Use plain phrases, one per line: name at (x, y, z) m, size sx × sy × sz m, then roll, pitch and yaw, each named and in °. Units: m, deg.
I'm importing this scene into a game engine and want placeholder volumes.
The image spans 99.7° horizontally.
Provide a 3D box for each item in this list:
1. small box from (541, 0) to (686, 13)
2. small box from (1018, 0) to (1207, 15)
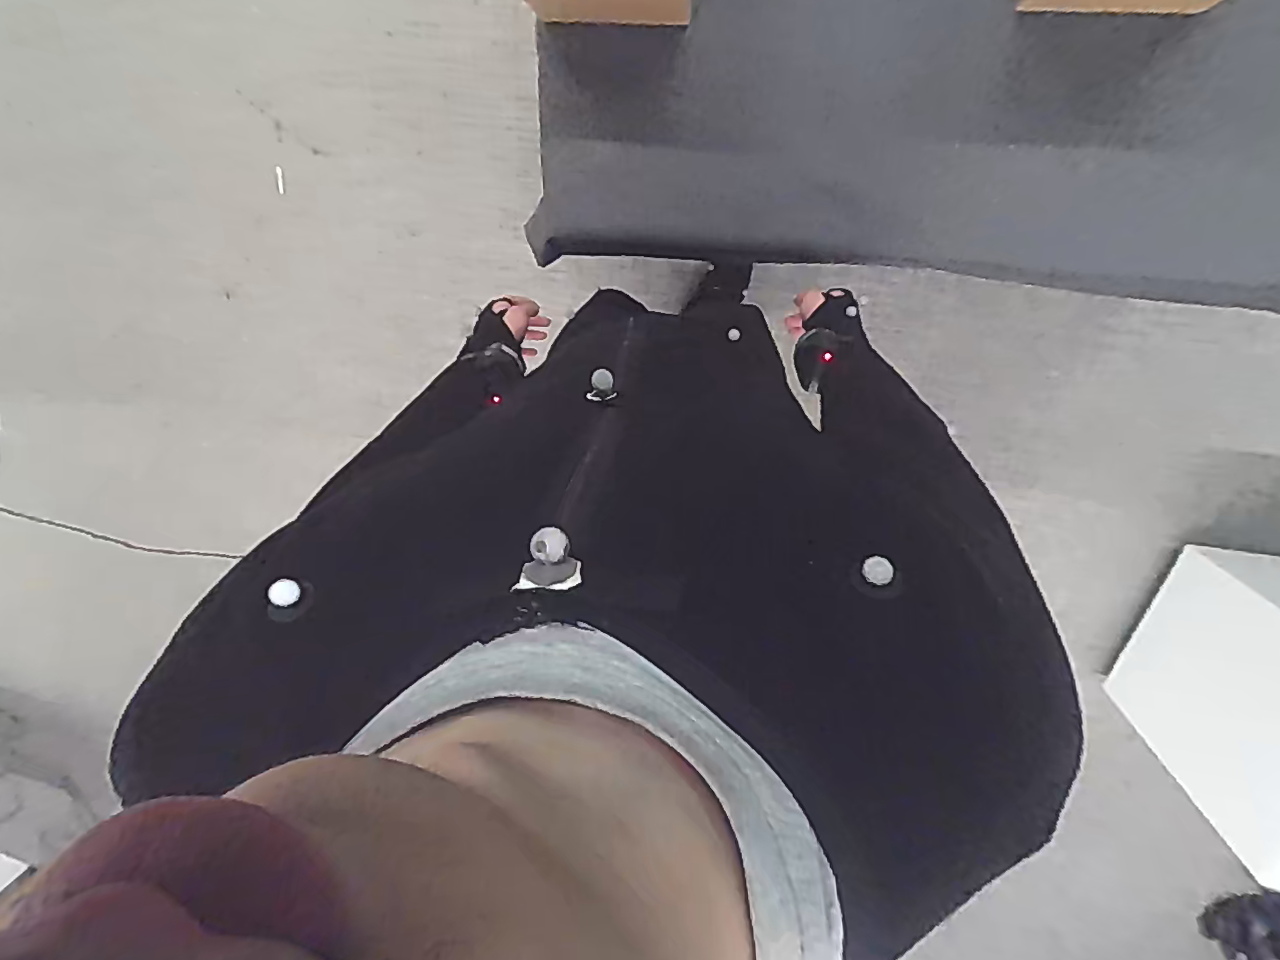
small box at (-0.035, -0.565, 0.499) m, size 0.179 × 0.176 × 0.168 m, roll 7°, pitch 116°, yaw 4°
small box at (0.465, -0.518, 0.446) m, size 0.179 × 0.176 × 0.168 m, roll 7°, pitch 114°, yaw 7°
